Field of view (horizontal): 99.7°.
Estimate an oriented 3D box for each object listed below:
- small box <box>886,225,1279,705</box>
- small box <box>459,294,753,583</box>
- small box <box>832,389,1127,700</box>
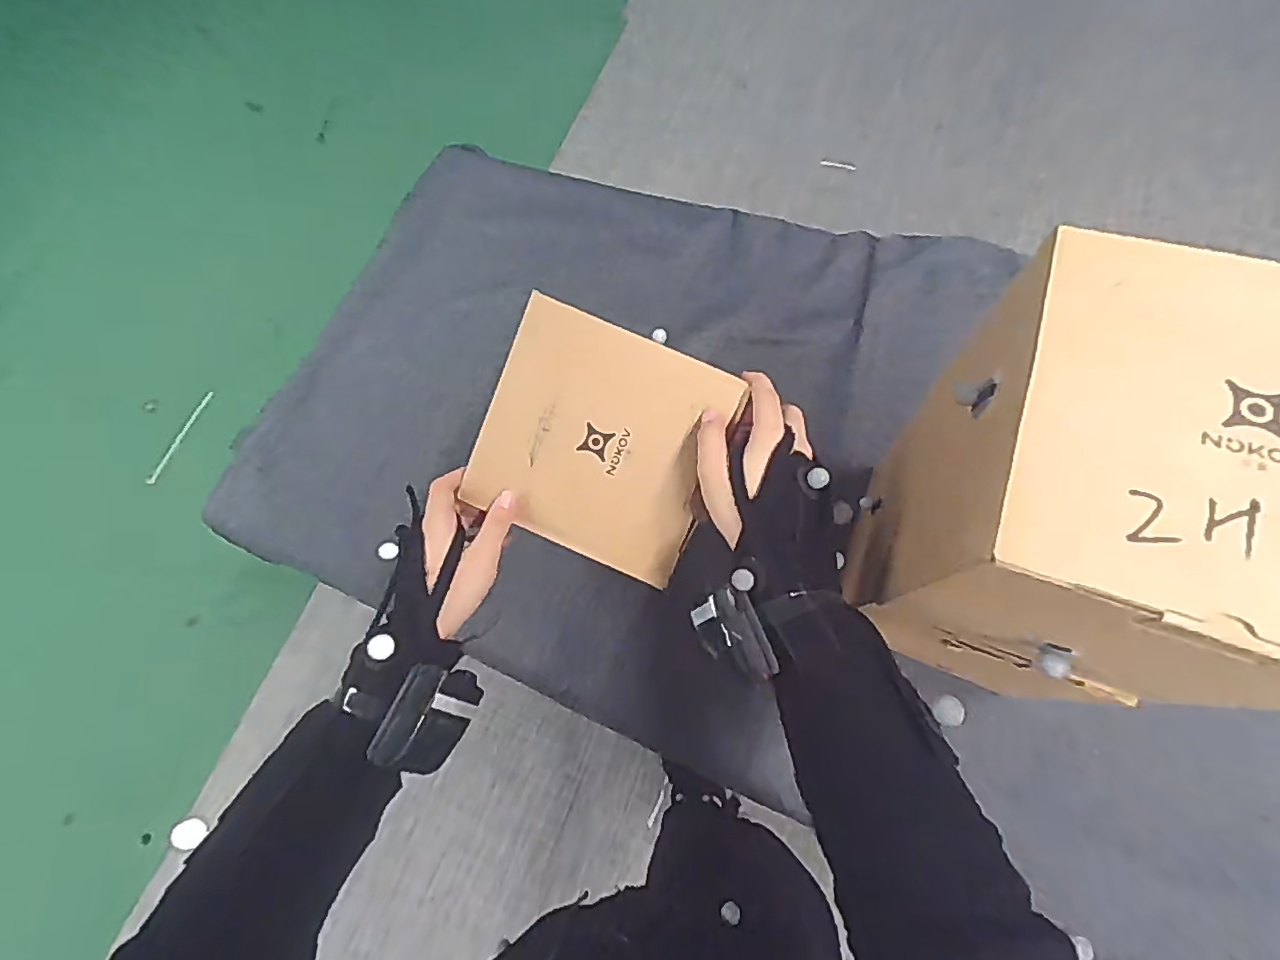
[{"bbox_3d":[0.253,0.005,0.293,0.168,0.176,0.179,18,74,14],"label":"small box"},{"bbox_3d":[-0.021,-0.039,0.474,0.179,0.176,0.168,23,99,3],"label":"small box"},{"bbox_3d":[0.273,0.059,0.448,0.168,0.176,0.179,21,75,14],"label":"small box"}]
